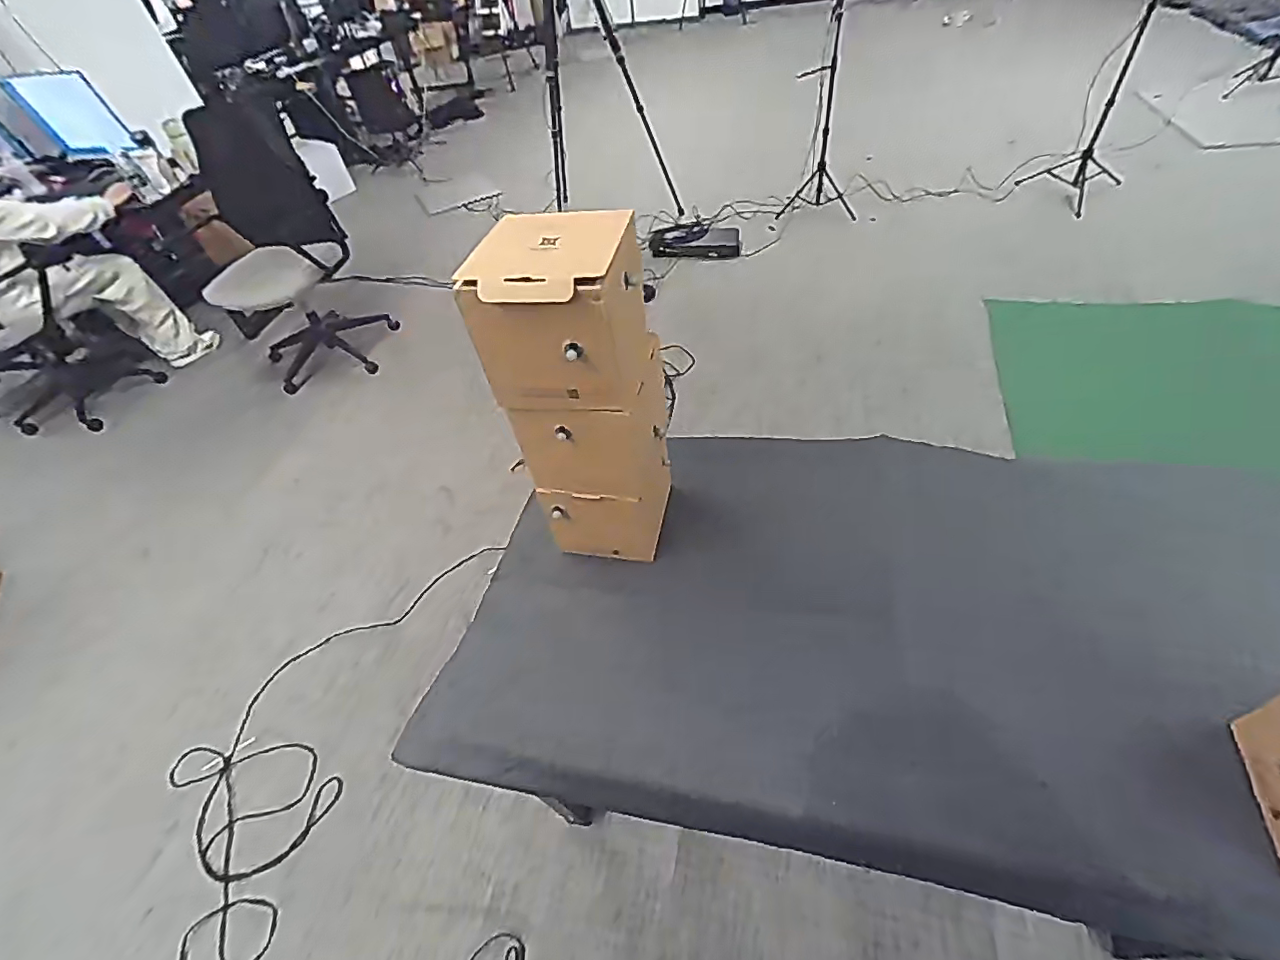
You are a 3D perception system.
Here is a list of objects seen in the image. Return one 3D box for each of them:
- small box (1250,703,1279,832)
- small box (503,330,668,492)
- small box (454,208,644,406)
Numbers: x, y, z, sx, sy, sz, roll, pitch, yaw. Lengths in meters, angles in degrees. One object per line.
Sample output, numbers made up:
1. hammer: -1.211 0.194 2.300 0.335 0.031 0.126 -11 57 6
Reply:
1. small box: 0.746 0.301 0.506 0.179 0.176 0.168 9 49 18
2. small box: -0.065 -0.099 0.777 0.179 0.176 0.168 6 52 14
3. small box: -0.092 -0.205 0.657 0.168 0.176 0.179 3 49 11
